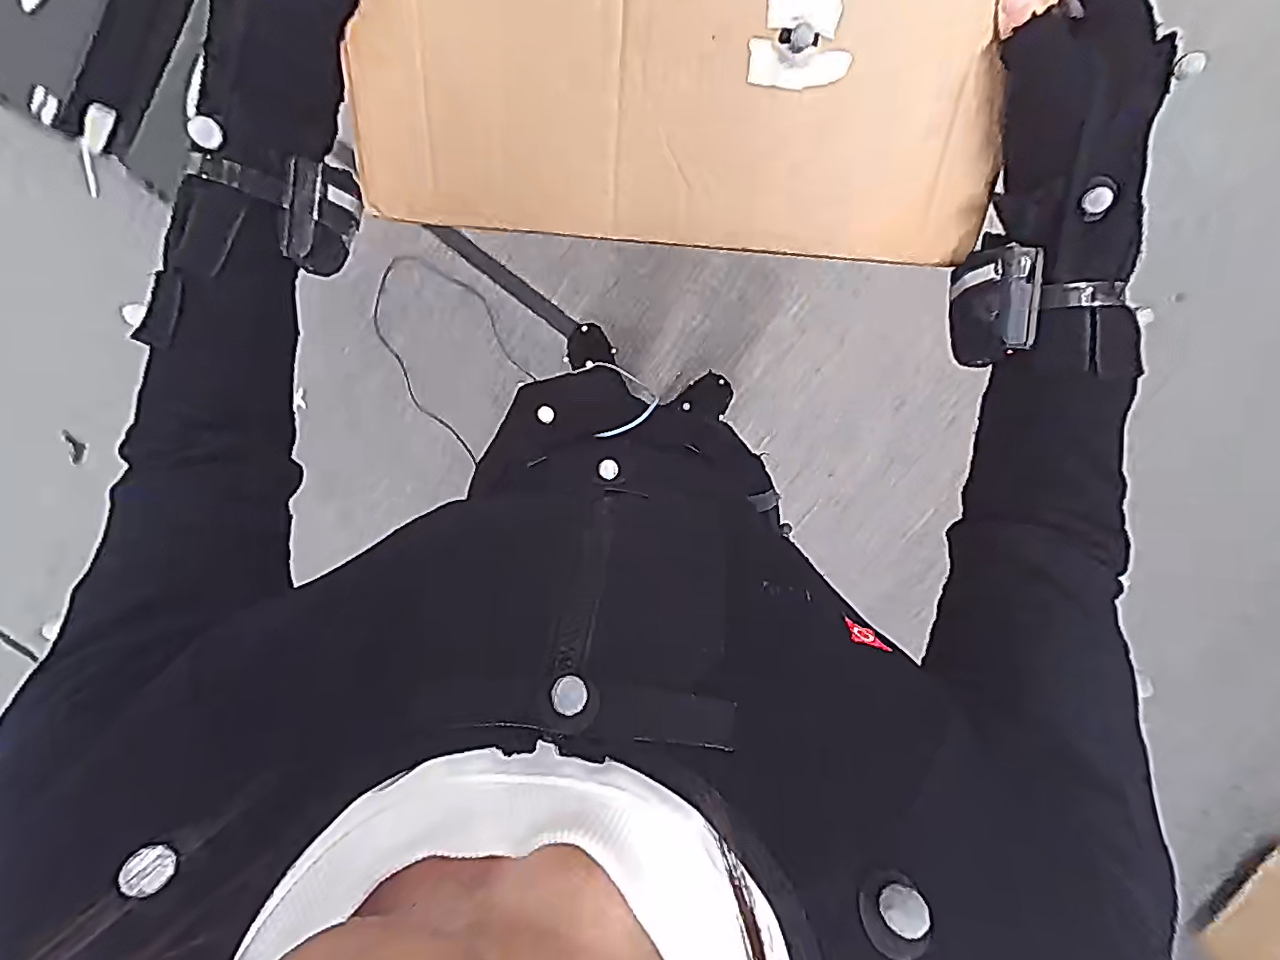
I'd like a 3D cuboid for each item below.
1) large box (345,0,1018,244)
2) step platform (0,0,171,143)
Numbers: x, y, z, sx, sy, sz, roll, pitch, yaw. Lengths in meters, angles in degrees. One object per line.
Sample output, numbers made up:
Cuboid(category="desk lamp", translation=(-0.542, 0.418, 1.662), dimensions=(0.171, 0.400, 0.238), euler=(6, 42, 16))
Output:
Cuboid(category="large box", translation=(0.026, -0.374, 0.439), dimensions=(0.408, 0.320, 0.320), euler=(3, 117, 0))
Cuboid(category="step platform", translation=(-1.142, -1.139, 1.180), dimensions=(0.286, 0.204, 0.684), euler=(36, 102, -5))
